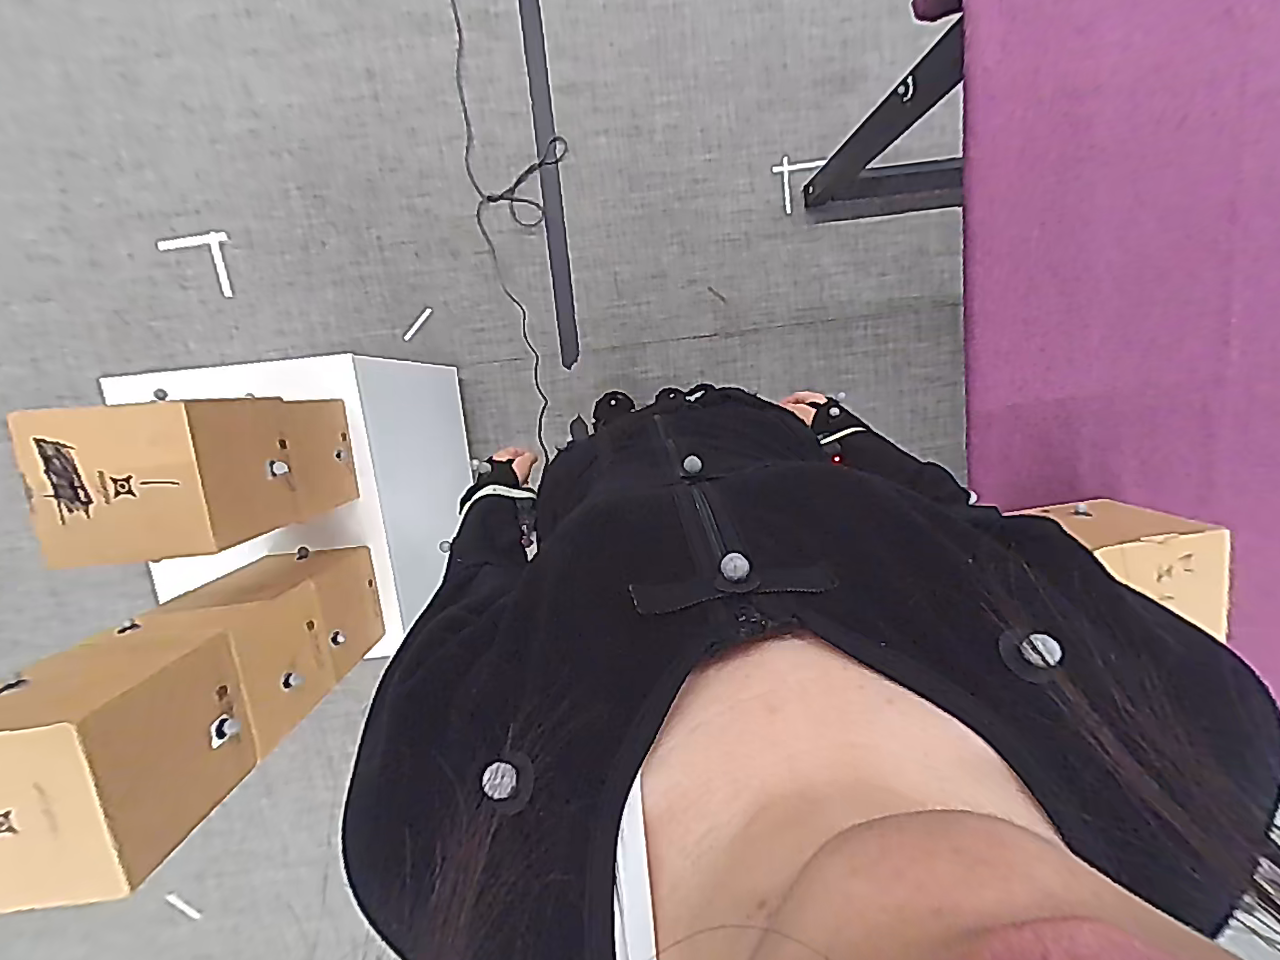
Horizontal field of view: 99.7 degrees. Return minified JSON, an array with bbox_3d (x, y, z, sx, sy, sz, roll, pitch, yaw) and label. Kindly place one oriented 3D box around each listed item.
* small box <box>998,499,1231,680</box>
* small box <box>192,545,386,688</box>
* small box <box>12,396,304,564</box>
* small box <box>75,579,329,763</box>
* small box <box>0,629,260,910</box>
[{"bbox_3d":[0.611,0.135,0.719,0.168,0.176,0.179,-8,100,-1],"label":"small box"},{"bbox_3d":[-0.525,0.207,0.835,0.179,0.176,0.168,-5,101,0],"label":"small box"},{"bbox_3d":[-0.536,-0.010,0.630,0.179,0.176,0.168,-4,101,-2],"label":"small box"},{"bbox_3d":[-0.519,0.234,0.675,0.179,0.176,0.168,-7,100,0],"label":"small box"},{"bbox_3d":[-0.517,0.260,0.515,0.179,0.176,0.168,-7,101,-1],"label":"small box"}]
